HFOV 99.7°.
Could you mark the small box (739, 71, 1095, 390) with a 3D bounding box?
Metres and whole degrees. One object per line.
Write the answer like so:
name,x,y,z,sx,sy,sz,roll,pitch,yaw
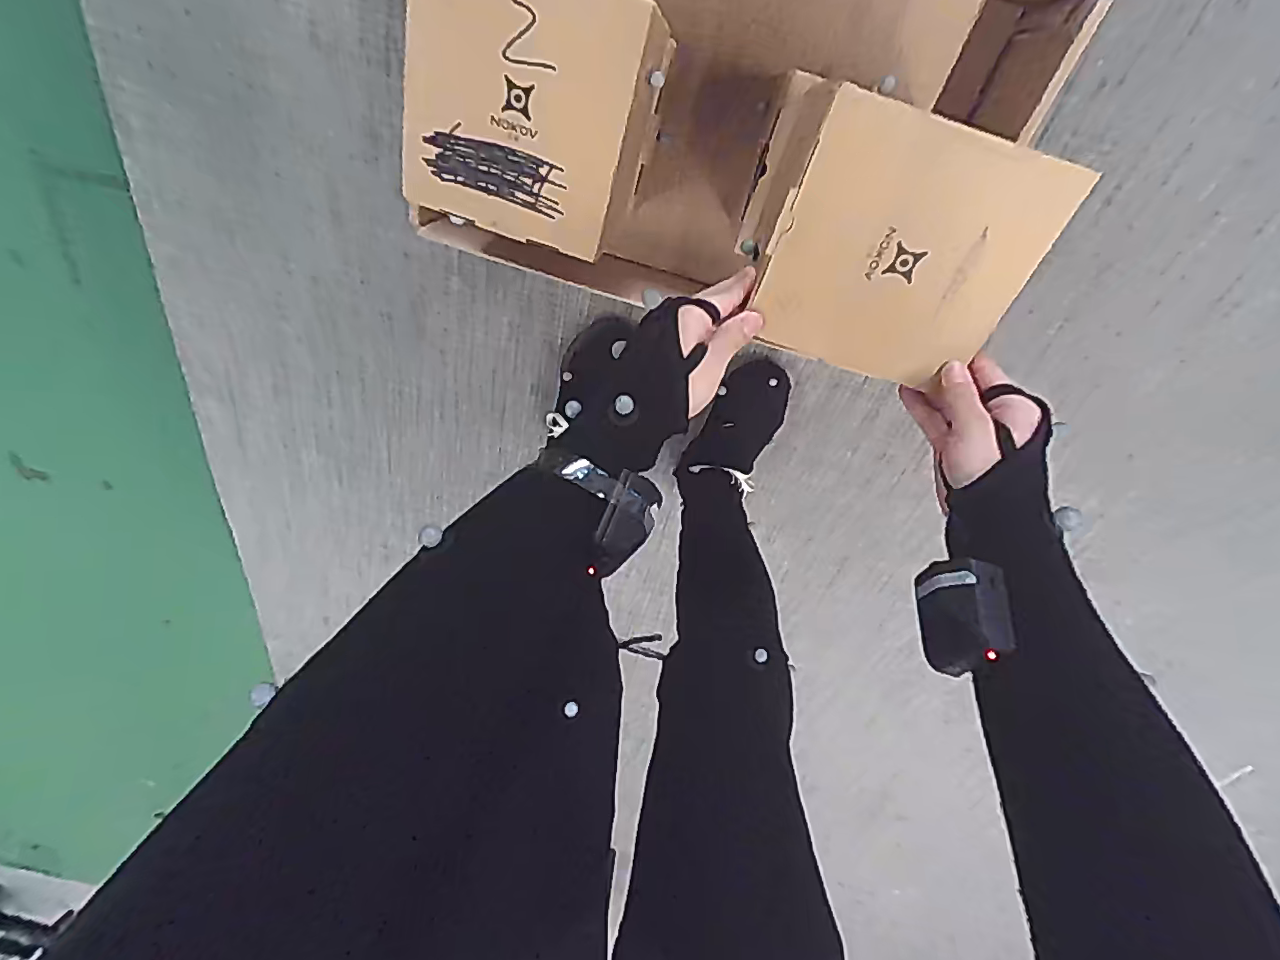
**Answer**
small box,0.190,-0.203,0.441,0.179,0.176,0.168,17,126,-3
